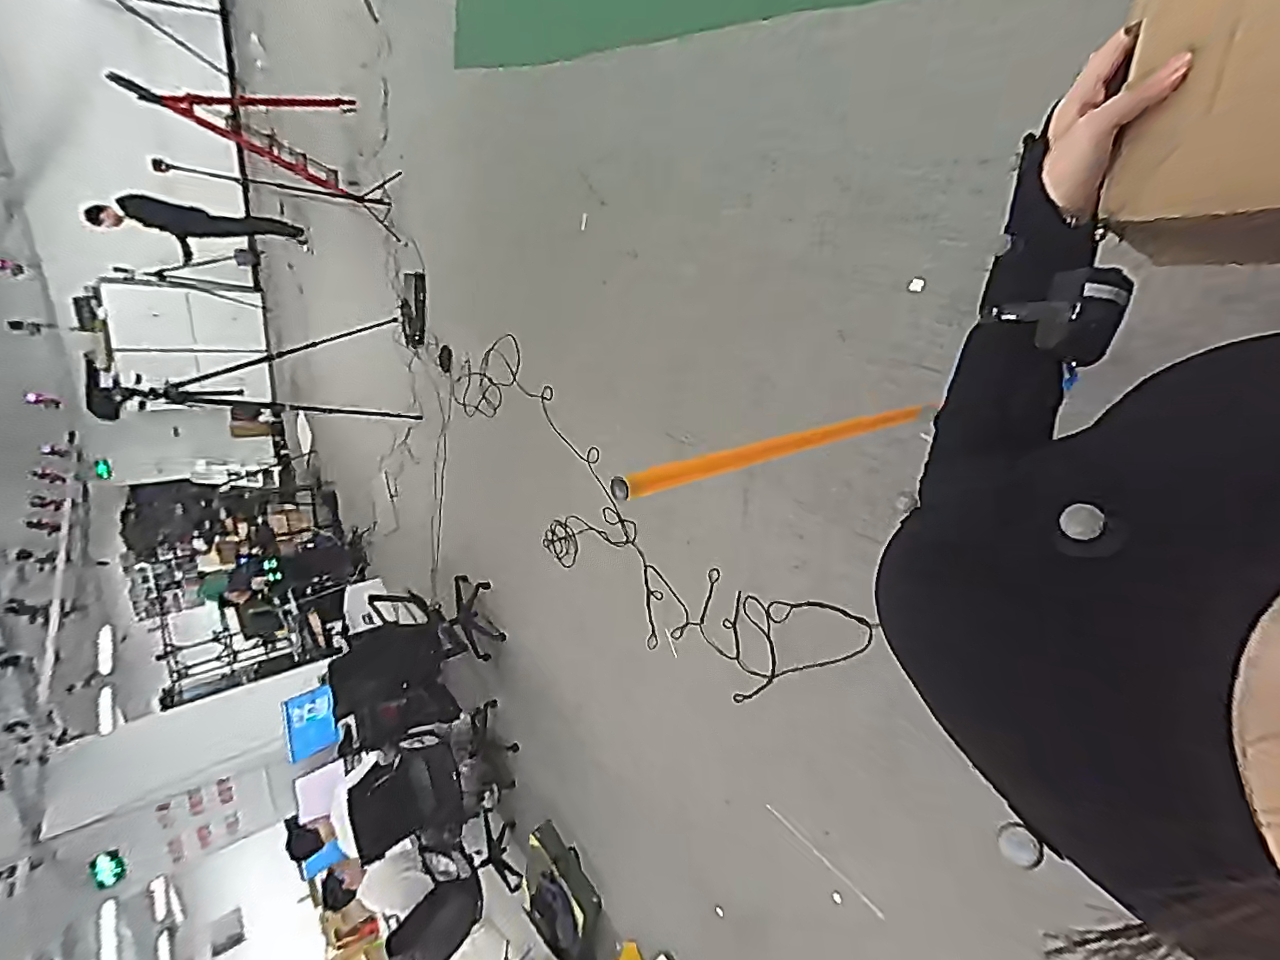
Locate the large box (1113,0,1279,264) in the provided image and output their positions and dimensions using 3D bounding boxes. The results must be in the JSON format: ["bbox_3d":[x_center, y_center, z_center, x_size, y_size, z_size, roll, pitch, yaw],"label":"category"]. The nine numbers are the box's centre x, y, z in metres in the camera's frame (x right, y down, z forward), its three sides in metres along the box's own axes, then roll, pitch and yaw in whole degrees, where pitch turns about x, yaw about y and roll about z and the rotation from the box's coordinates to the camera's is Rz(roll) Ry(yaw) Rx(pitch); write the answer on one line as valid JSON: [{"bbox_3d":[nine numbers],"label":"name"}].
[{"bbox_3d":[0.594,-0.327,0.324,0.408,0.320,0.320,17,111,45],"label":"large box"}]

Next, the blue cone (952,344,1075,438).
[{"bbox_3d":[0.757,-0.186,1.169,0.193,0.380,0.192,41,126,36],"label":"blue cone"}]
